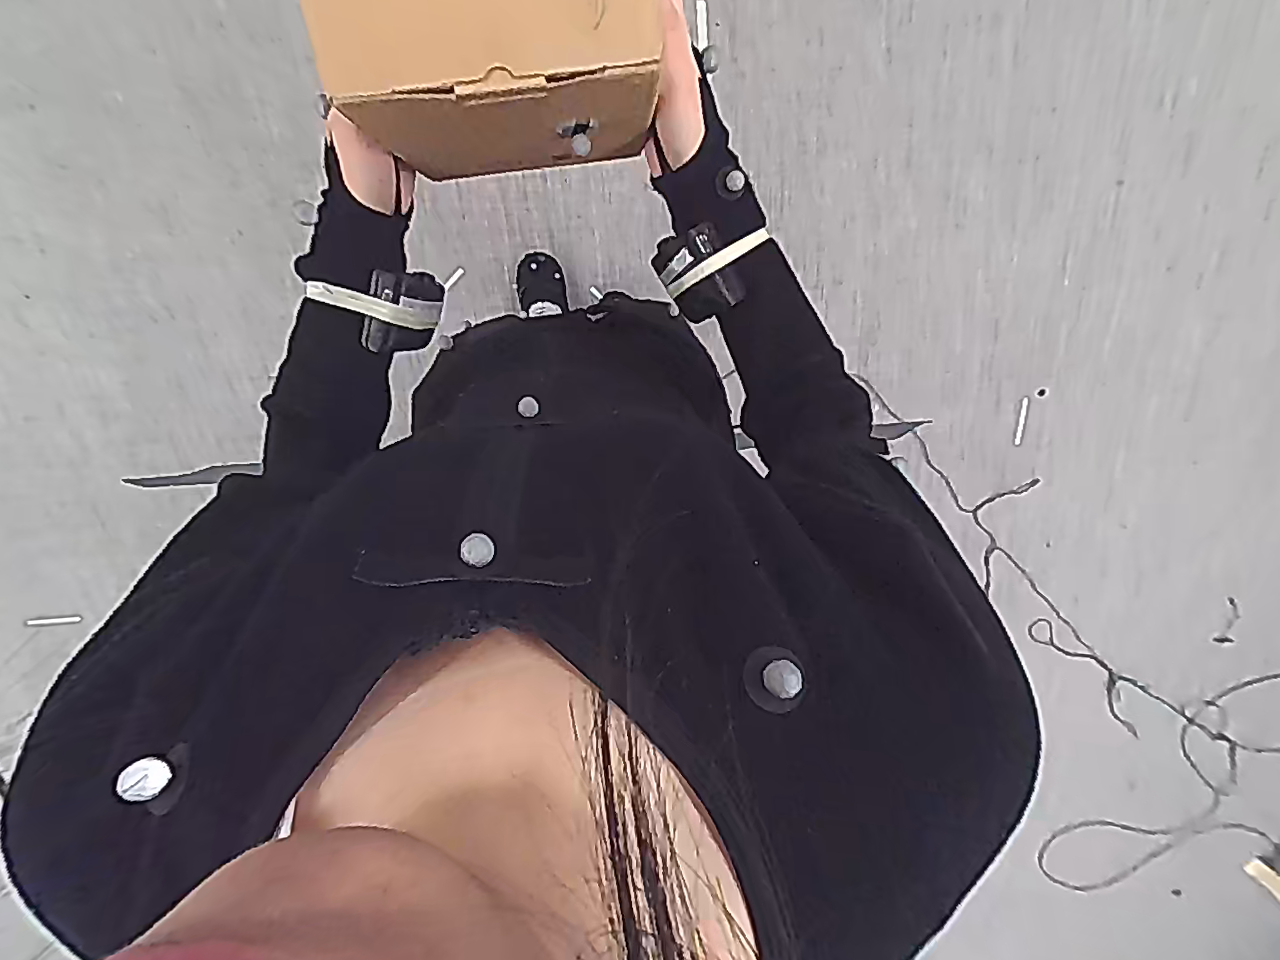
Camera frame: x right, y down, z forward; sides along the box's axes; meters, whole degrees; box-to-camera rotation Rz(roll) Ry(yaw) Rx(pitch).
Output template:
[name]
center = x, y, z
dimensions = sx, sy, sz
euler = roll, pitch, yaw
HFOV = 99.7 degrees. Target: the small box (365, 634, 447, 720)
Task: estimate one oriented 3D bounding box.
[small box]
center = -0.698, 0.585, 1.623
dimensions = 0.179, 0.176, 0.168
euler = 11, 108, -9
